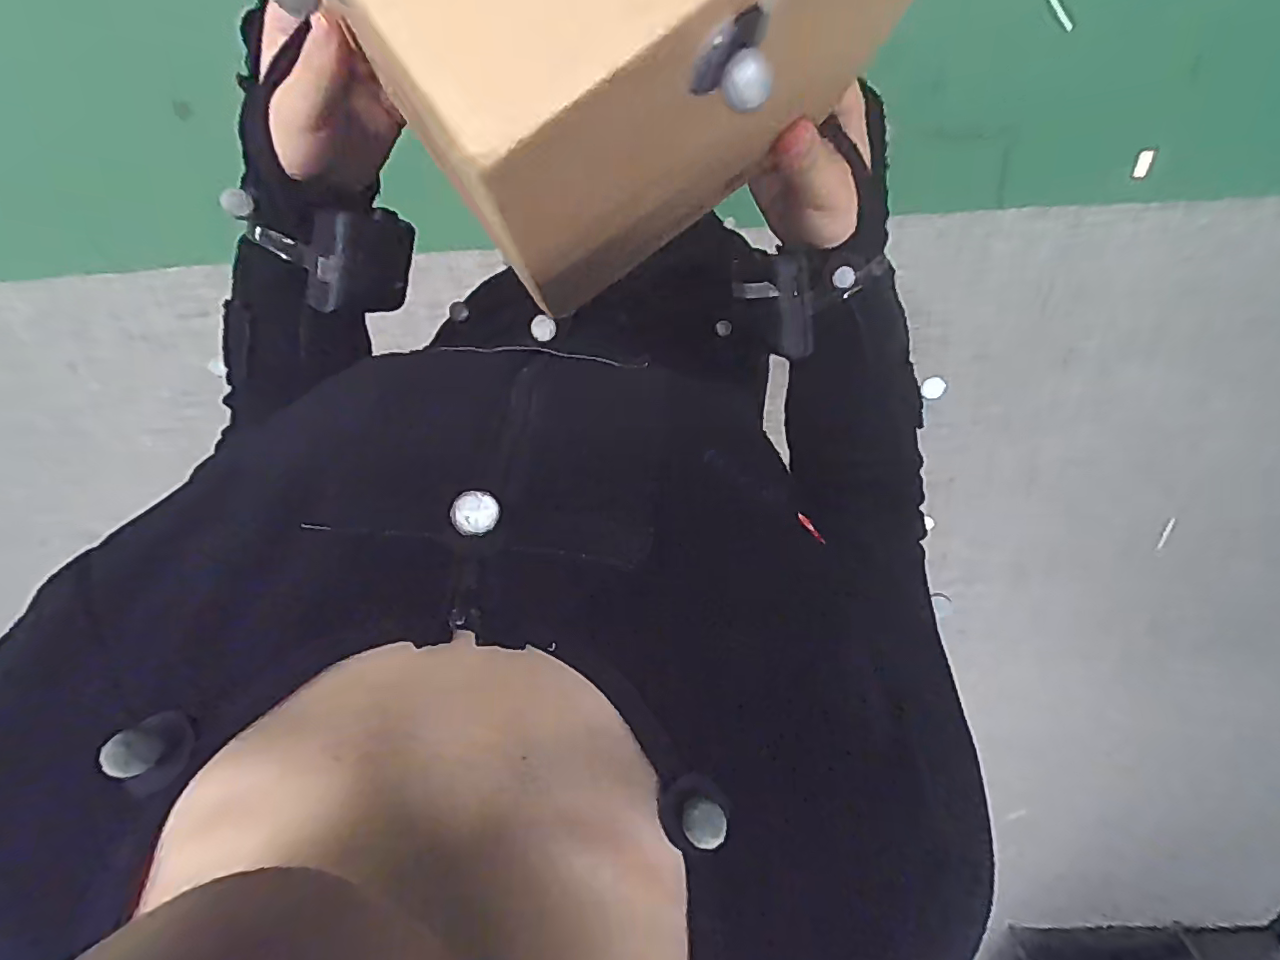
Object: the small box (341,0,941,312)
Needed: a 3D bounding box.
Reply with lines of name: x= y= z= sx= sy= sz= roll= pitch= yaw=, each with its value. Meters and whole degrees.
small box: x=-0.012 y=-0.185 z=0.182 sx=0.168 sy=0.176 sz=0.179 roll=-37 pitch=97 yaw=1
